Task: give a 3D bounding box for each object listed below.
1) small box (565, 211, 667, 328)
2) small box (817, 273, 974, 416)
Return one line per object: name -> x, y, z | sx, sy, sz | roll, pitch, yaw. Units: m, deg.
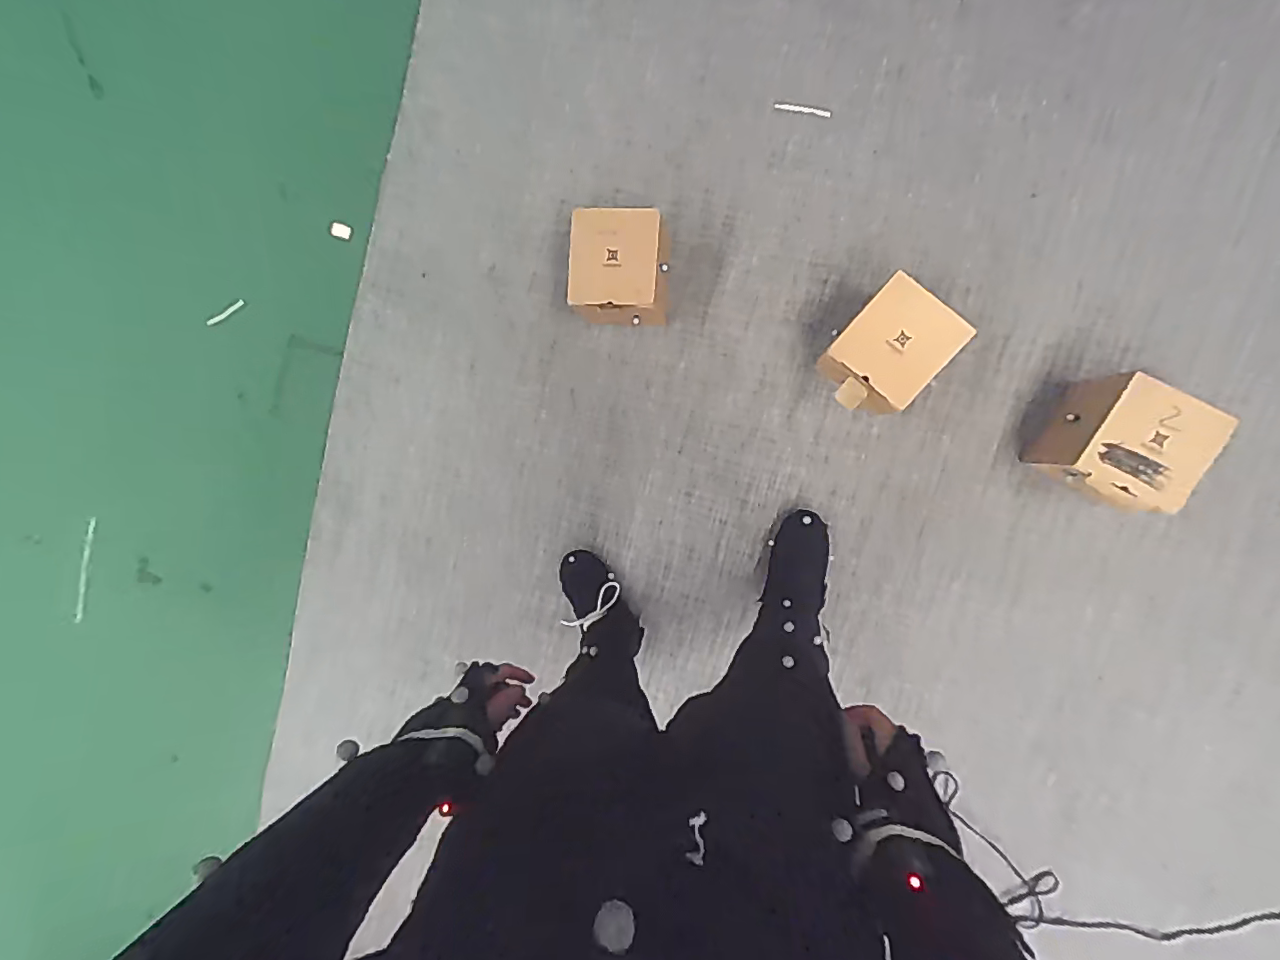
small box -> -0.041, -0.401, 1.056 | 0.168, 0.176, 0.179 | 4, 93, 9
small box -> 0.445, -0.233, 0.979 | 0.168, 0.176, 0.179 | 41, 100, 5
